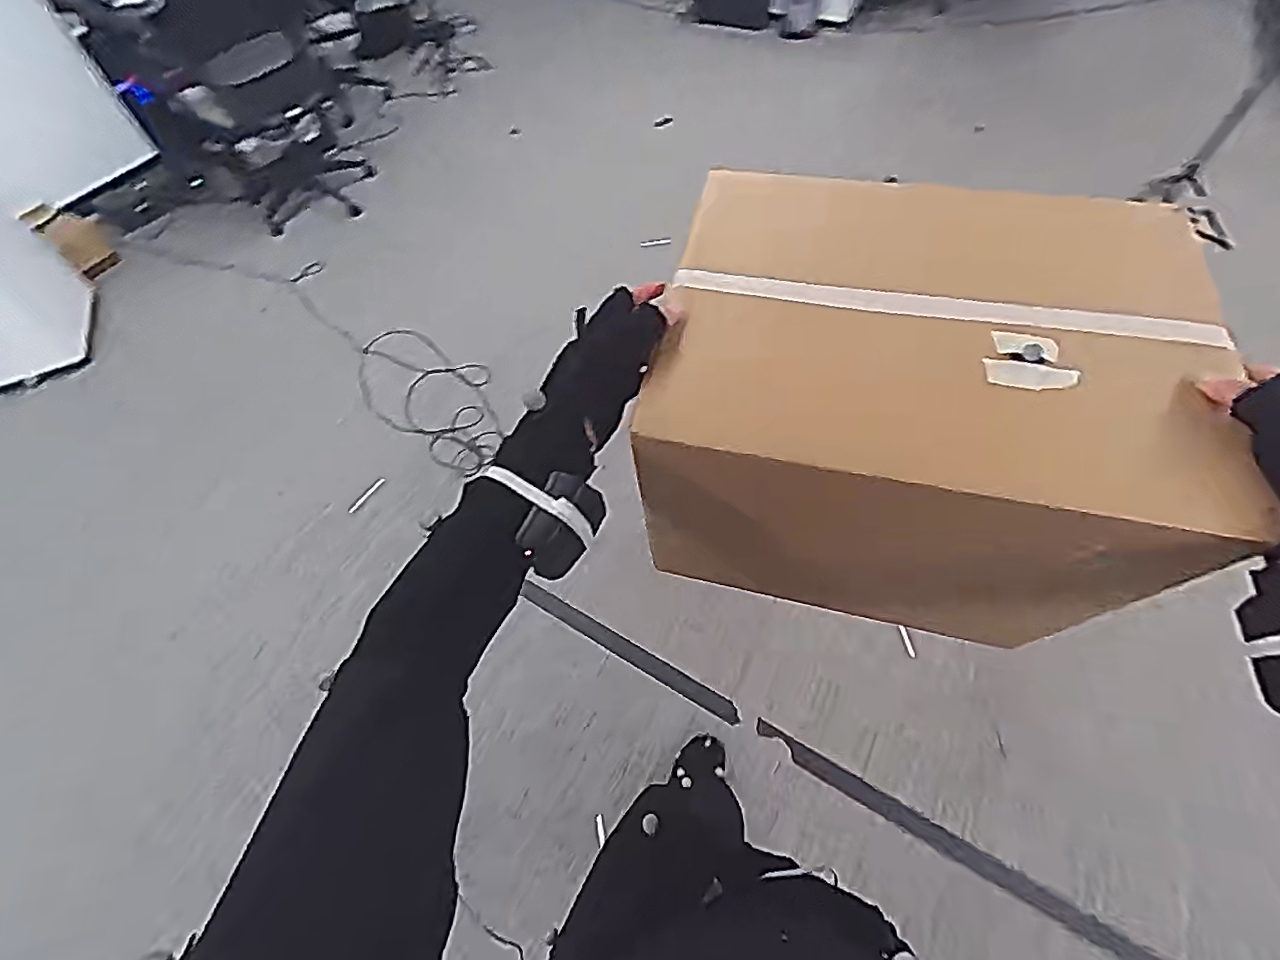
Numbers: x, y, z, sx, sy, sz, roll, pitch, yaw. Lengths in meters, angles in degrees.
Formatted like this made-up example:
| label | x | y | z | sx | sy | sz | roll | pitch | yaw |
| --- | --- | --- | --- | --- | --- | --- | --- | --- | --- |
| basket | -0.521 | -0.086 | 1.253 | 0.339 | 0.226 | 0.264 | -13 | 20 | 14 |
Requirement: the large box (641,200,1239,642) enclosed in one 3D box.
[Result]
| label | x | y | z | sx | sy | sz | roll | pitch | yaw |
| --- | --- | --- | --- | --- | --- | --- | --- | --- | --- |
| large box | 0.234 | -0.051 | 0.574 | 0.408 | 0.320 | 0.320 | 10 | 63 | 10 |
